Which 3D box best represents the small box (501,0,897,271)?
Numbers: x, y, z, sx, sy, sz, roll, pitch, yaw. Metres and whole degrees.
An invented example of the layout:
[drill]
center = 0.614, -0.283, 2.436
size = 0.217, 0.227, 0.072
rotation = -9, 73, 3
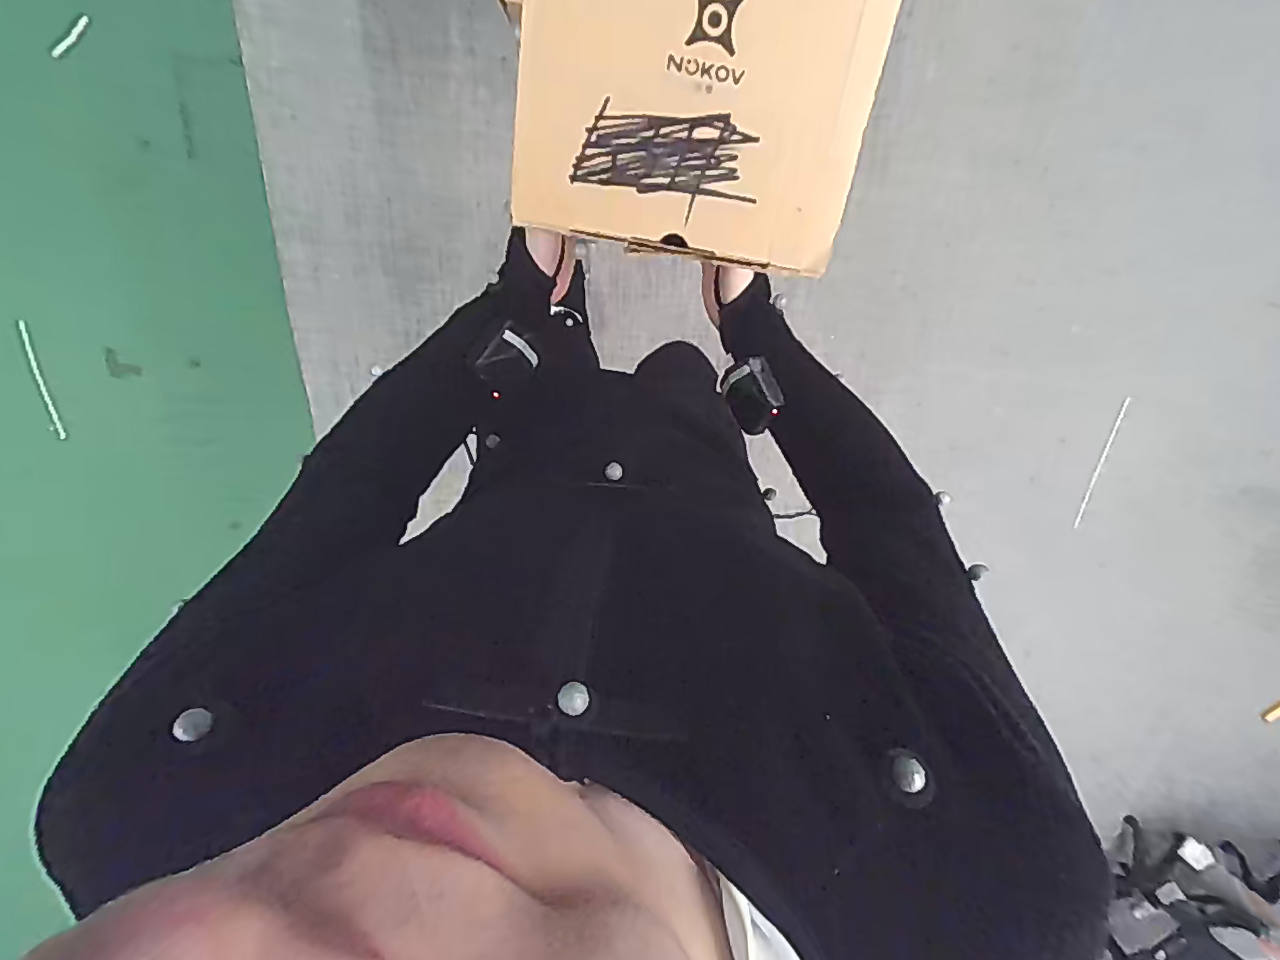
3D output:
[small box]
center = 0.023, -0.229, 0.309
size = 0.168, 0.176, 0.179
rotation = 7, 112, -7
